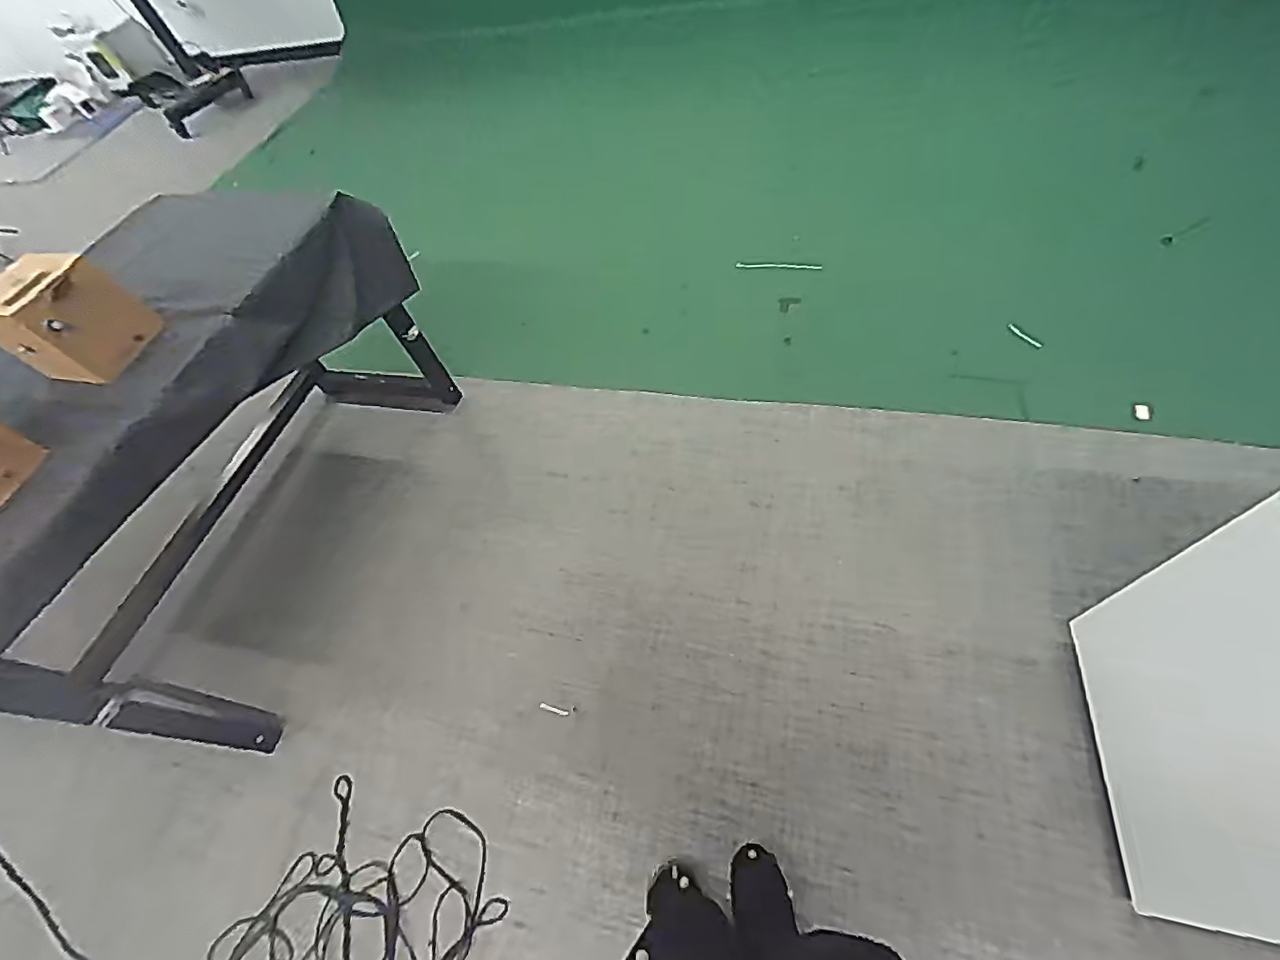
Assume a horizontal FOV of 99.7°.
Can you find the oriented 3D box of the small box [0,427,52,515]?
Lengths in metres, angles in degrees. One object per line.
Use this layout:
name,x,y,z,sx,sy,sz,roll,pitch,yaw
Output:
small box,-1.143,-0.025,0.869,0.179,0.176,0.168,7,58,15
